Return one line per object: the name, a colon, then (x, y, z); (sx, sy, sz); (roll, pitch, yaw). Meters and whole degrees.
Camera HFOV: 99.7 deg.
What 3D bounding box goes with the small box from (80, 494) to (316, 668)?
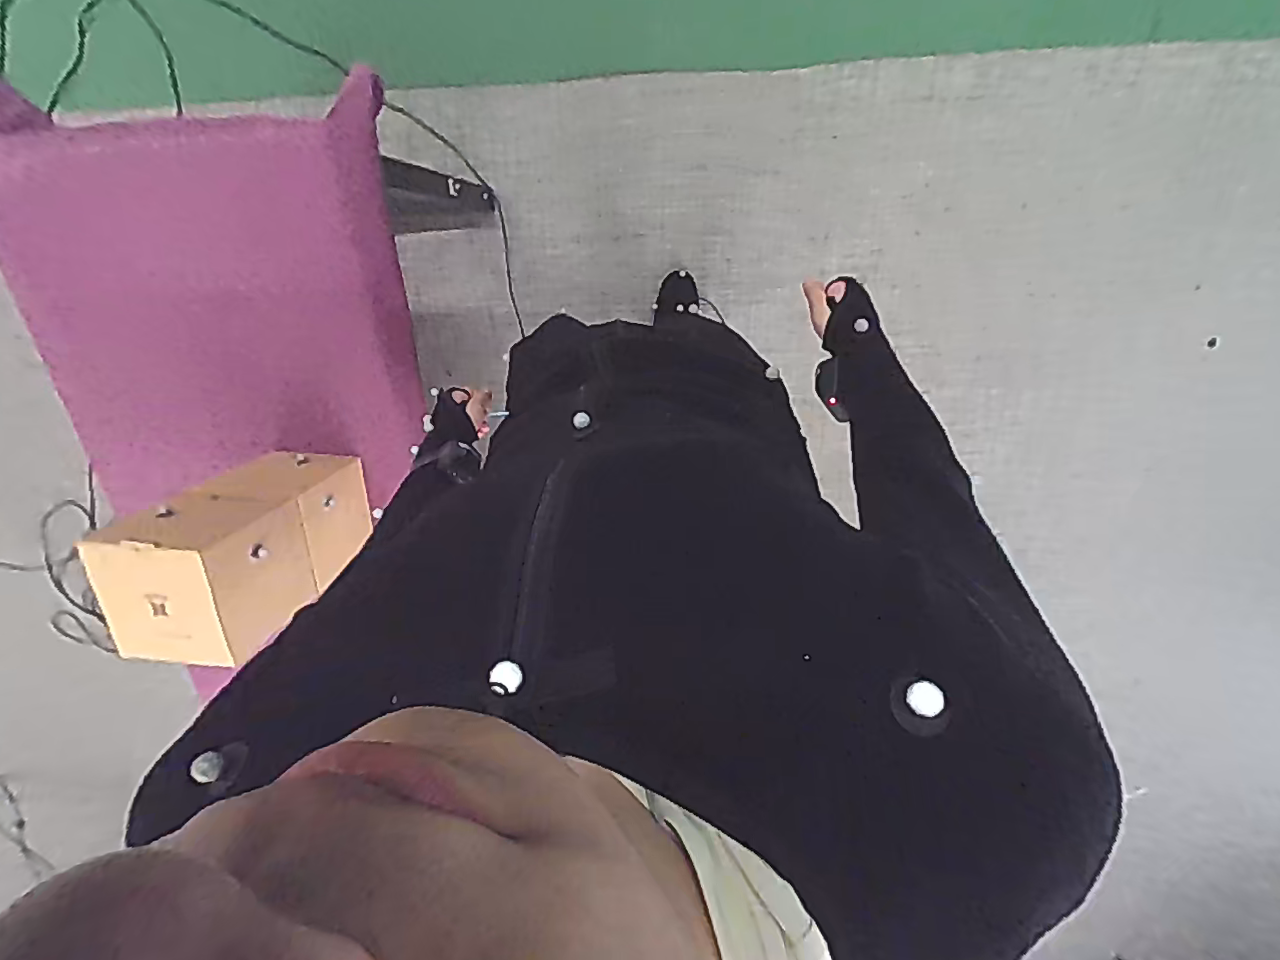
small box: (-0.589, 0.130, 0.749); (0.168, 0.176, 0.179); (4, 112, 5)
